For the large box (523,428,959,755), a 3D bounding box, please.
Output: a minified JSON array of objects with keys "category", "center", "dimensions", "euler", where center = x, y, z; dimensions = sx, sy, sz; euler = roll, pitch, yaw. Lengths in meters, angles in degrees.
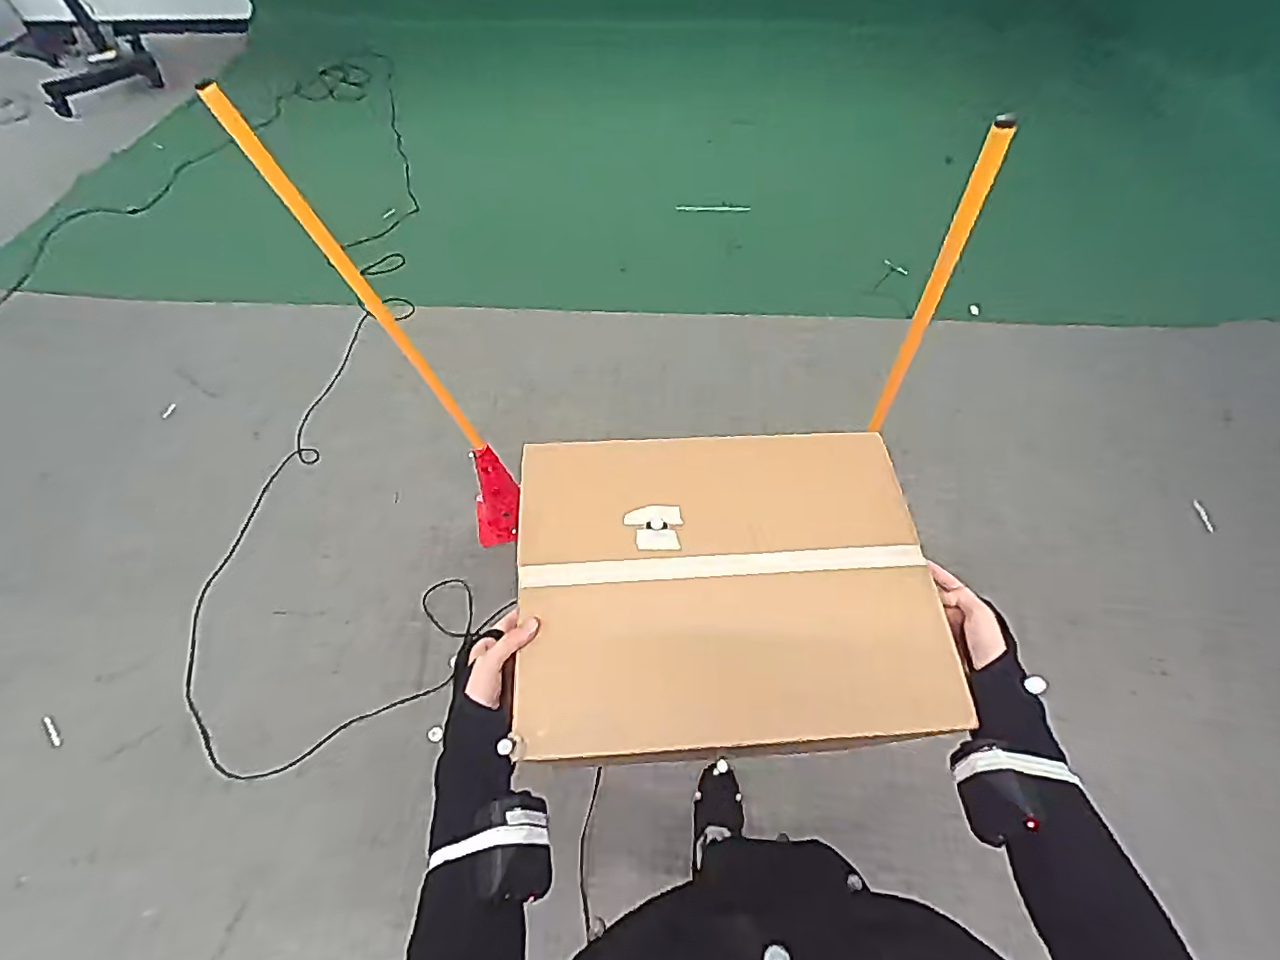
[{"category":"large box","center":[0.083,0.156,0.681],"dimensions":[0.408,0.320,0.320],"euler":[-3,61,-3]}]
